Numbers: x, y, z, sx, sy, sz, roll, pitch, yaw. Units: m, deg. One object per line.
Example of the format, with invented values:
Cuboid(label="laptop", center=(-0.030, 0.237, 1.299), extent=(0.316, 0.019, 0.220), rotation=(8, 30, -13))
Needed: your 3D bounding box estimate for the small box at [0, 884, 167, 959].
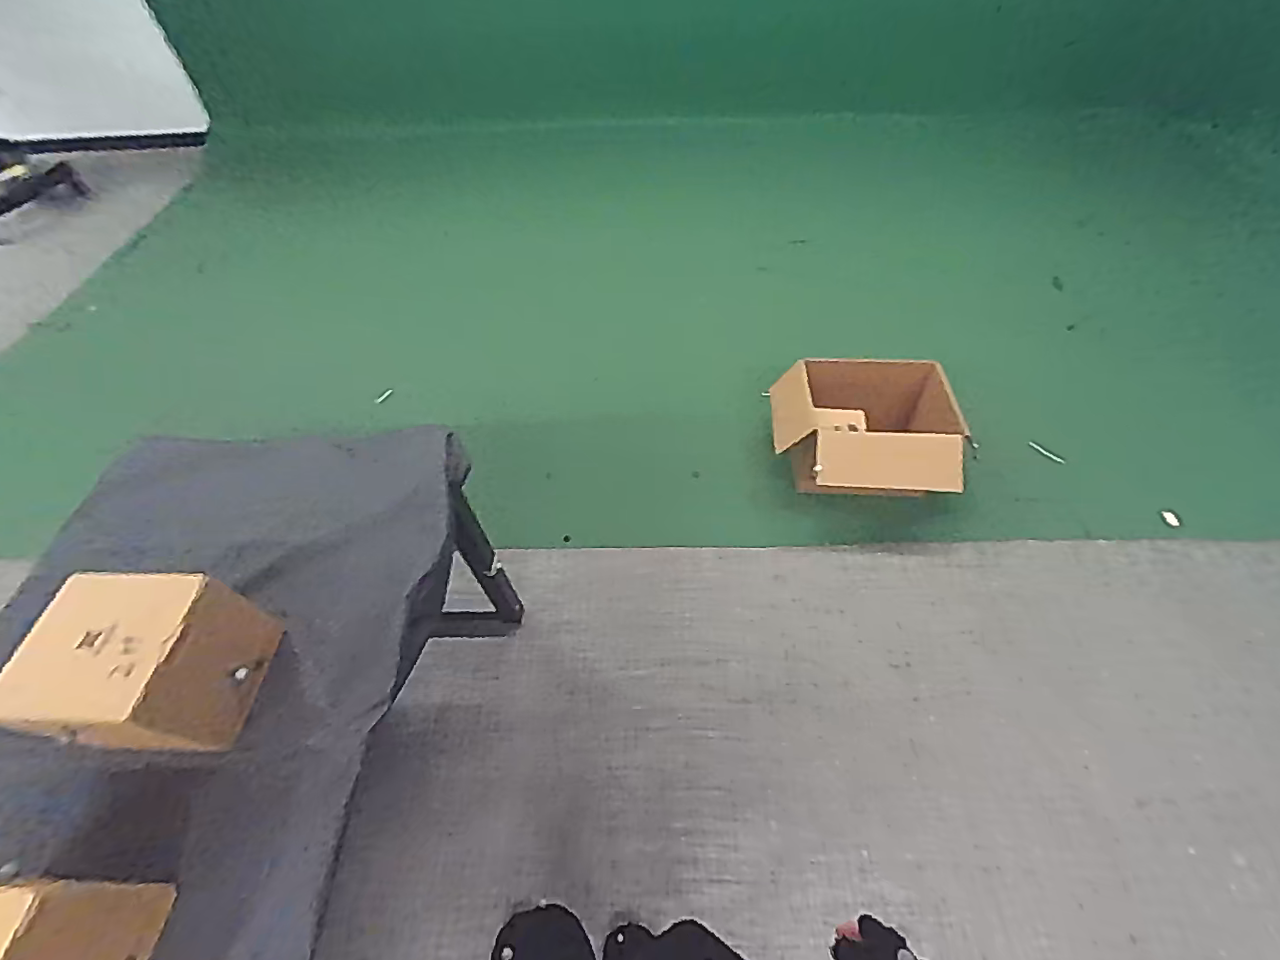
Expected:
Cuboid(label="small box", center=(-0.604, 0.468, 0.485), extent=(0.179, 0.176, 0.168), rotation=(1, 53, 2))

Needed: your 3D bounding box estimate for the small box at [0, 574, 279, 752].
Cuboid(label="small box", center=(-0.600, 0.227, 0.661), extent=(0.179, 0.176, 0.168), rotation=(1, 54, 2))
